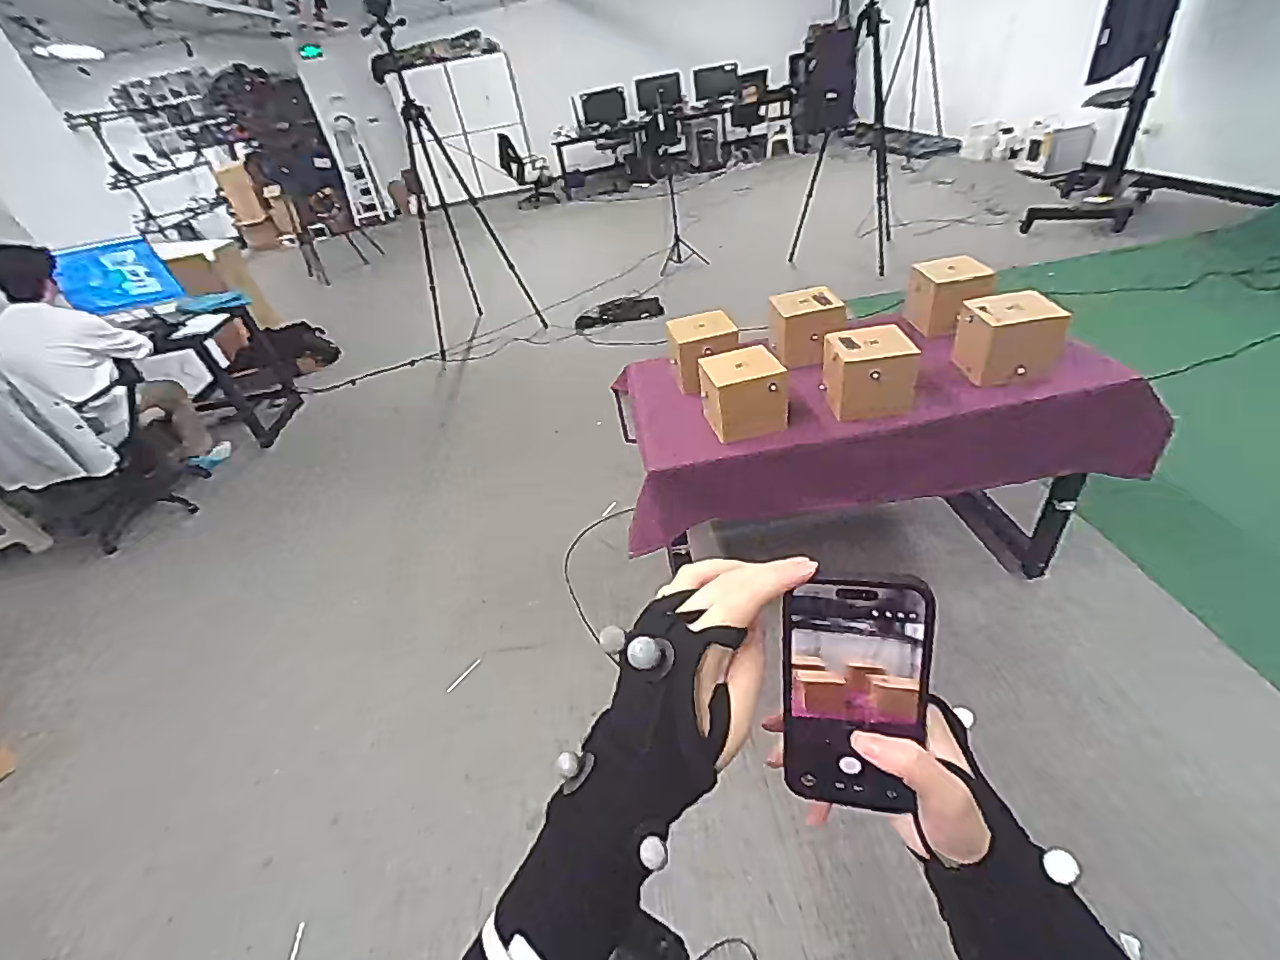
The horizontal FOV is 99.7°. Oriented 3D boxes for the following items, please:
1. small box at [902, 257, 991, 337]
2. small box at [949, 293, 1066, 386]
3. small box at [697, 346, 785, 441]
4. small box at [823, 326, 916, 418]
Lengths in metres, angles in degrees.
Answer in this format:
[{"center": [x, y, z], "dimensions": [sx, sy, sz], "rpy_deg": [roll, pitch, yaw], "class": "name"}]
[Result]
[{"center": [0.911, -0.551, 1.630], "dimensions": [0.168, 0.176, 0.179], "rpy_deg": [-9, 39, 4], "class": "small box"}, {"center": [0.927, -0.358, 1.383], "dimensions": [0.179, 0.176, 0.168], "rpy_deg": [-6, 38, 6], "class": "small box"}, {"center": [0.258, -0.218, 1.381], "dimensions": [0.179, 0.176, 0.168], "rpy_deg": [-13, 37, -4], "class": "small box"}, {"center": [0.567, -0.268, 1.363], "dimensions": [0.179, 0.176, 0.168], "rpy_deg": [-6, 38, 5], "class": "small box"}]
